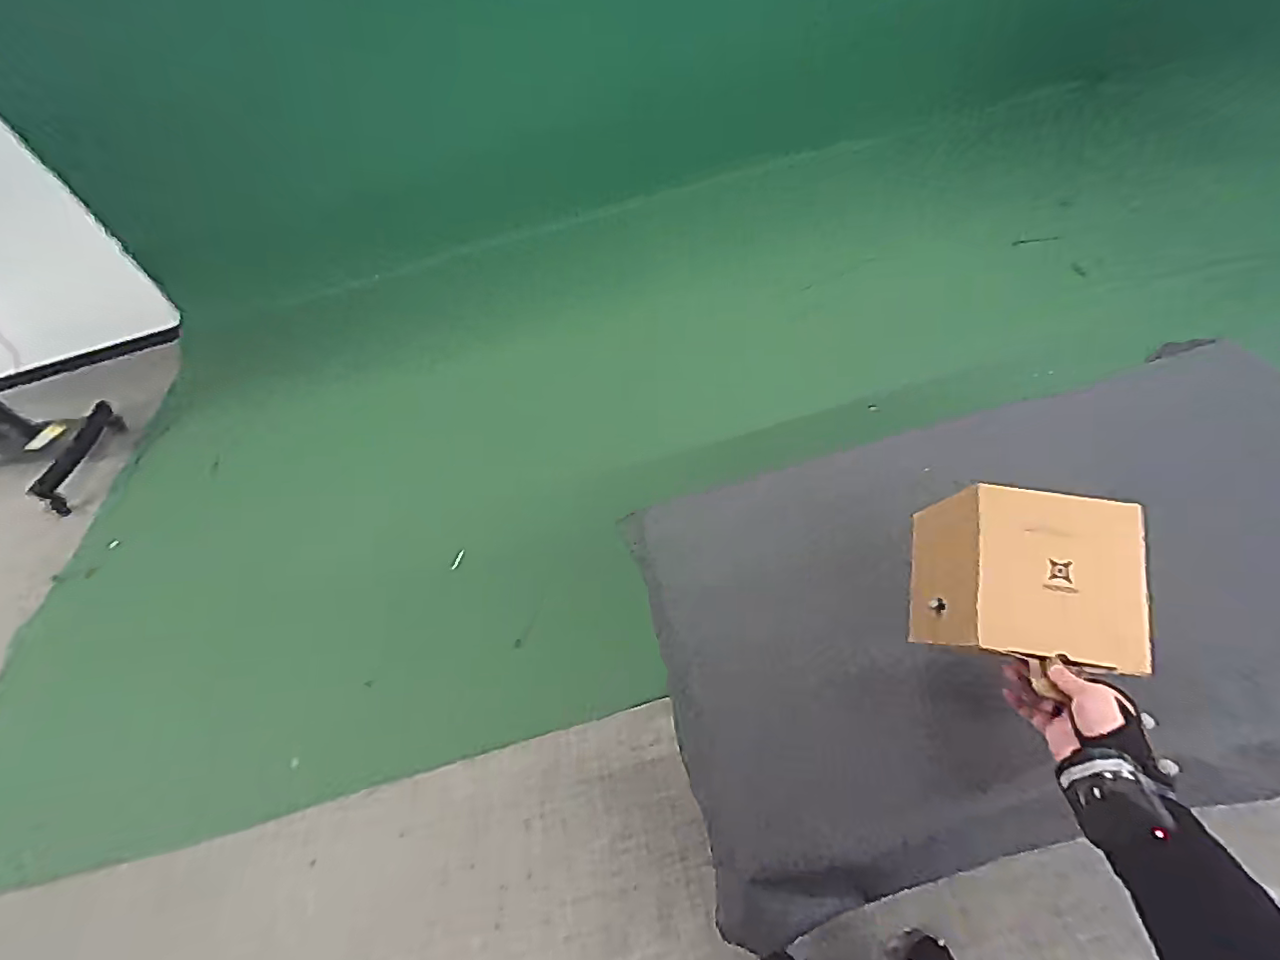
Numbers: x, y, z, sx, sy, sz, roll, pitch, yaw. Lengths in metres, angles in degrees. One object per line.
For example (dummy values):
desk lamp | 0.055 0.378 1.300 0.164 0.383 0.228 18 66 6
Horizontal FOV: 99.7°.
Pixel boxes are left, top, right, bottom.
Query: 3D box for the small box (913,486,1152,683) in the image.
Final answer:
small box | 0.443 0.122 0.635 0.168 0.176 0.179 11 76 5
